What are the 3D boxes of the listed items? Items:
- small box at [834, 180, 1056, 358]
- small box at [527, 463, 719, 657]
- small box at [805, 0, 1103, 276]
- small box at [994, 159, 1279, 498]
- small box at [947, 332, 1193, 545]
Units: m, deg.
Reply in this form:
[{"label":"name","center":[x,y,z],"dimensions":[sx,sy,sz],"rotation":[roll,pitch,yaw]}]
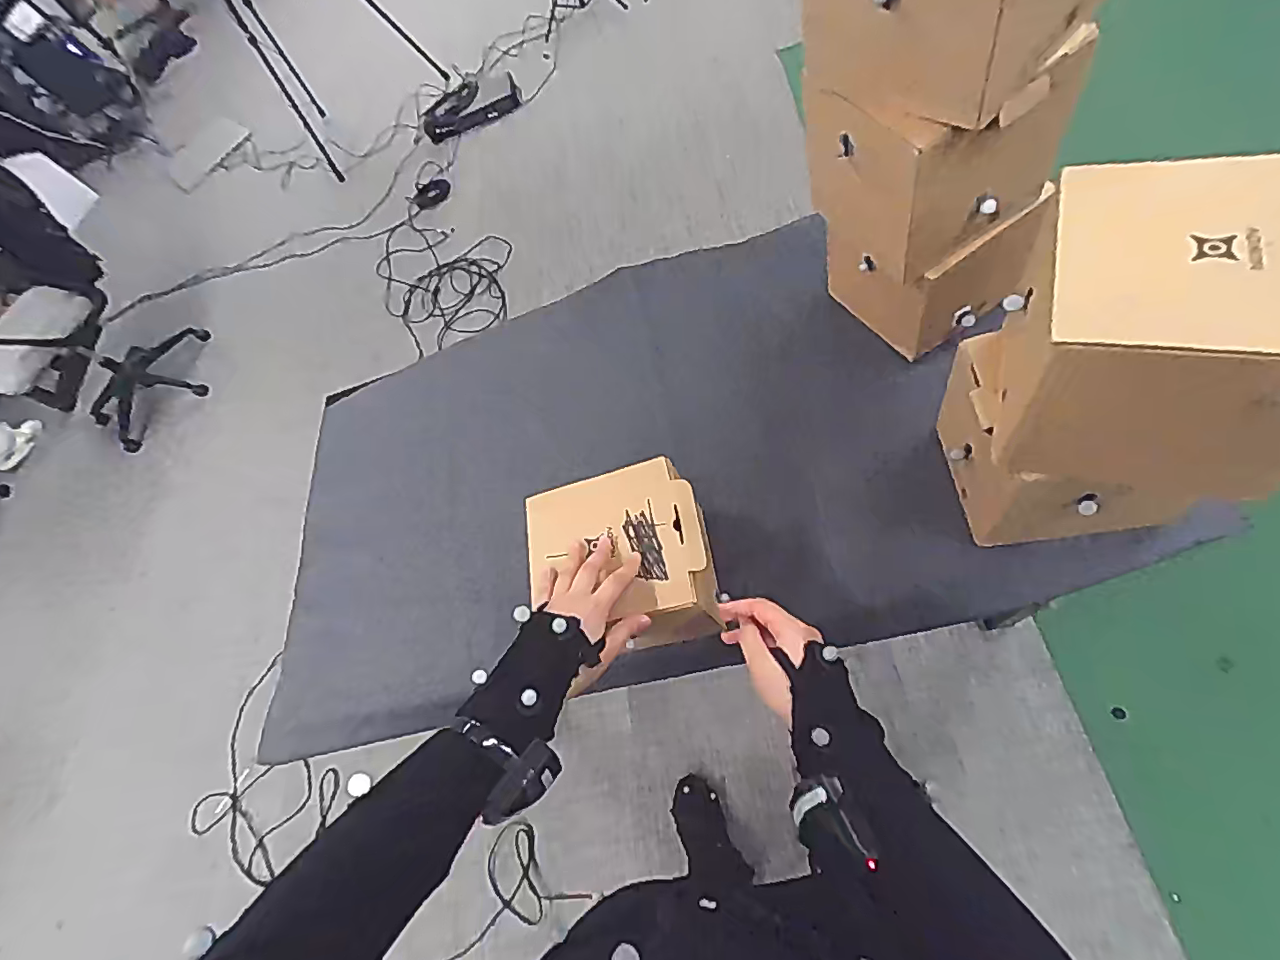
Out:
[{"label":"small box","center":[0.363,-0.290,0.683],"dimensions":[0.168,0.176,0.179],"rotation":[-36,62,4]},{"label":"small box","center":[-0.012,0.104,0.637],"dimensions":[0.179,0.176,0.168],"rotation":[-16,62,14]},{"label":"small box","center":[0.290,-0.346,0.544],"dimensions":[0.168,0.176,0.179],"rotation":[-34,60,7]},{"label":"small box","center":[0.383,-0.101,0.398],"dimensions":[0.179,0.176,0.168],"rotation":[11,68,24]},{"label":"small box","center":[0.428,-0.044,0.545],"dimensions":[0.179,0.176,0.168],"rotation":[-11,61,16]}]
